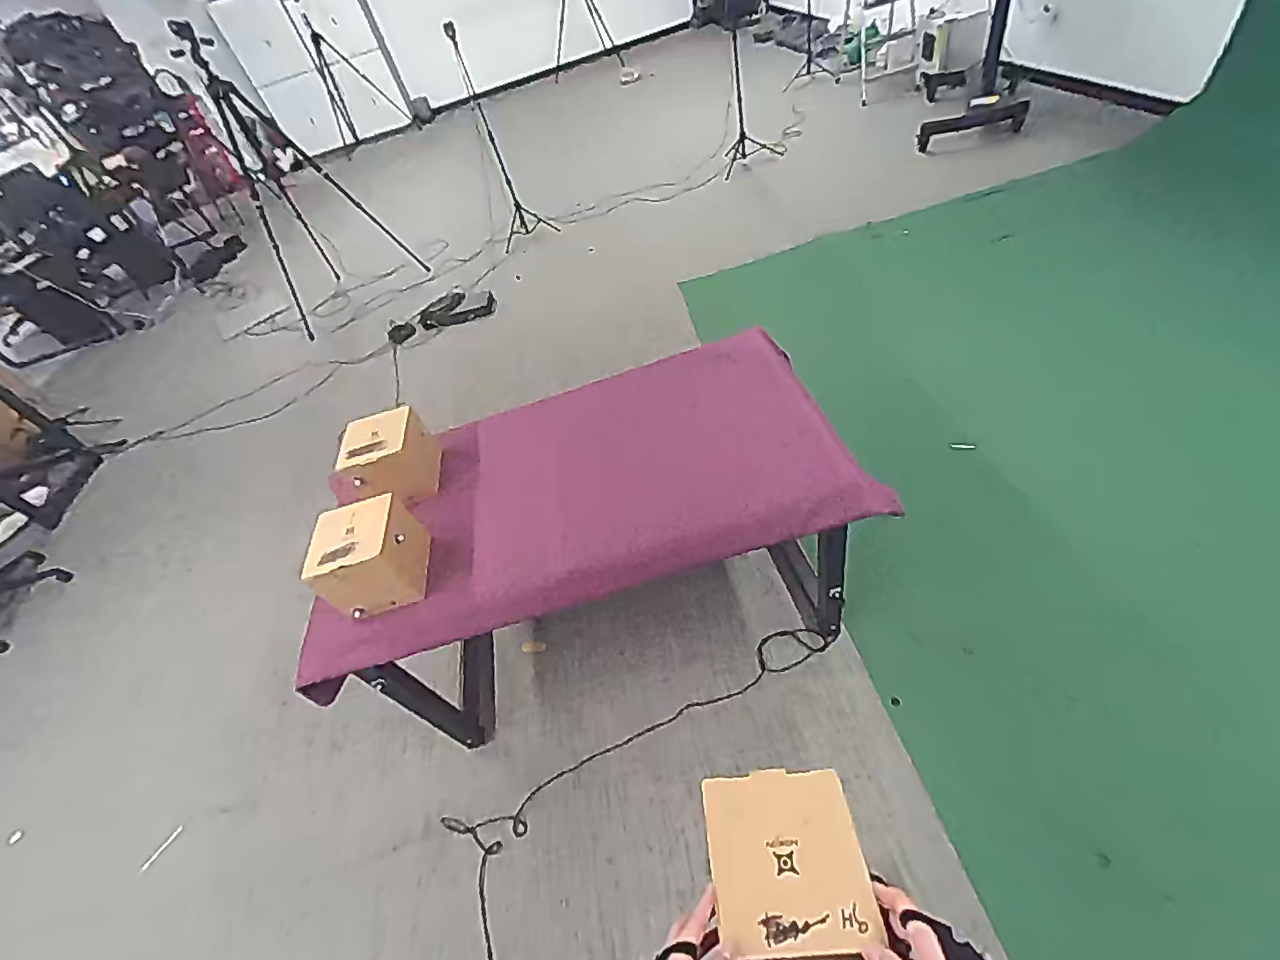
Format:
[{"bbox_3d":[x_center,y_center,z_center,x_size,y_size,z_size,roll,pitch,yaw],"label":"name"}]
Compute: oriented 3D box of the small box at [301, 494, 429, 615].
[{"bbox_3d":[-0.565,0.164,1.139,0.168,0.176,0.179,-17,45,1],"label":"small box"}]
